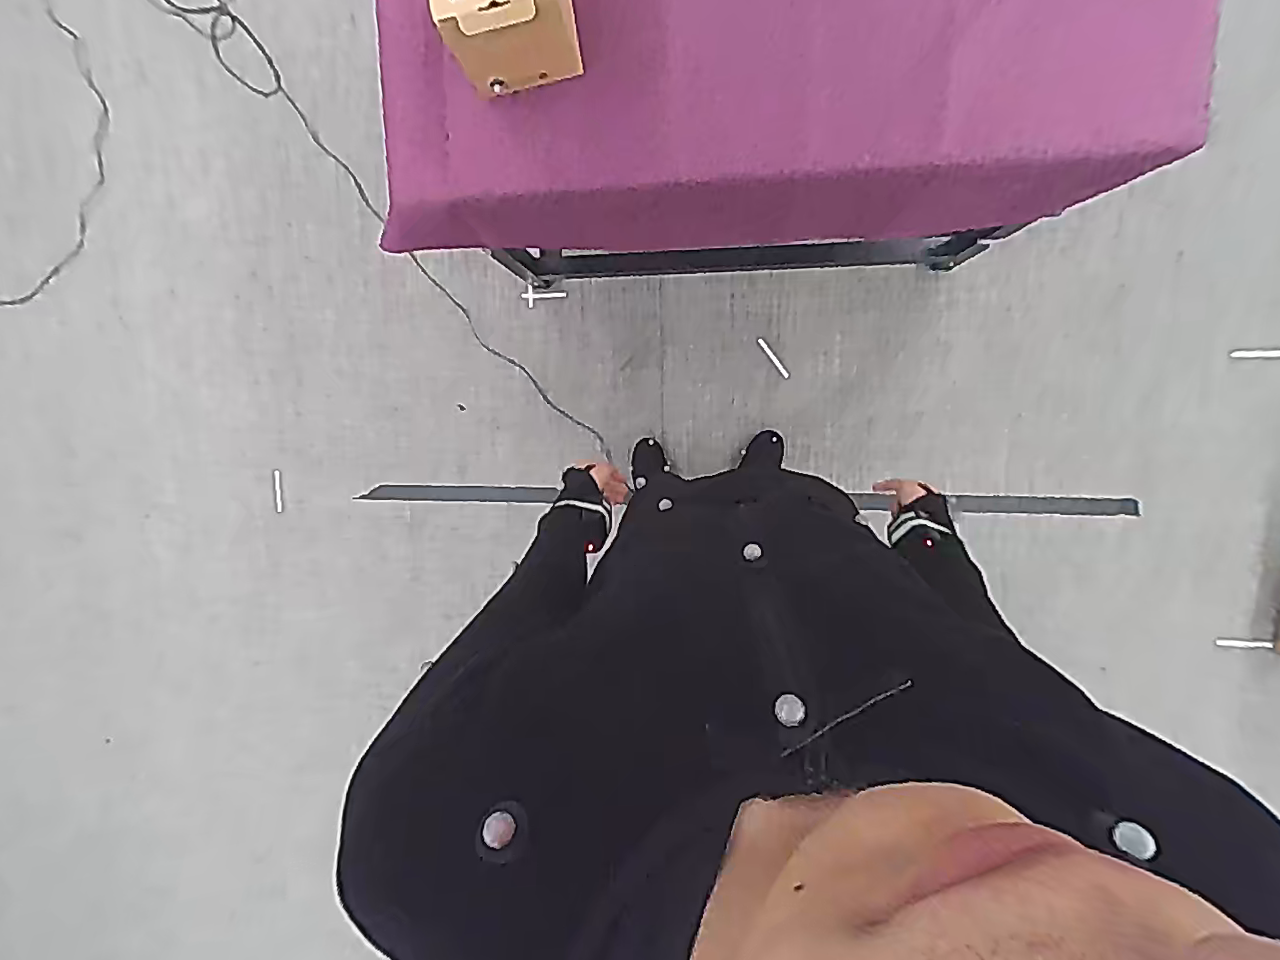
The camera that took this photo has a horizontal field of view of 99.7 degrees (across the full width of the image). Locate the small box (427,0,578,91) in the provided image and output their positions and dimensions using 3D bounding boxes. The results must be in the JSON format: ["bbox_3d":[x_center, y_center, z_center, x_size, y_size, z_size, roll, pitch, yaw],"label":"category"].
[{"bbox_3d":[-0.194,-0.688,0.759,0.168,0.176,0.179,-9,95,7],"label":"small box"}]
